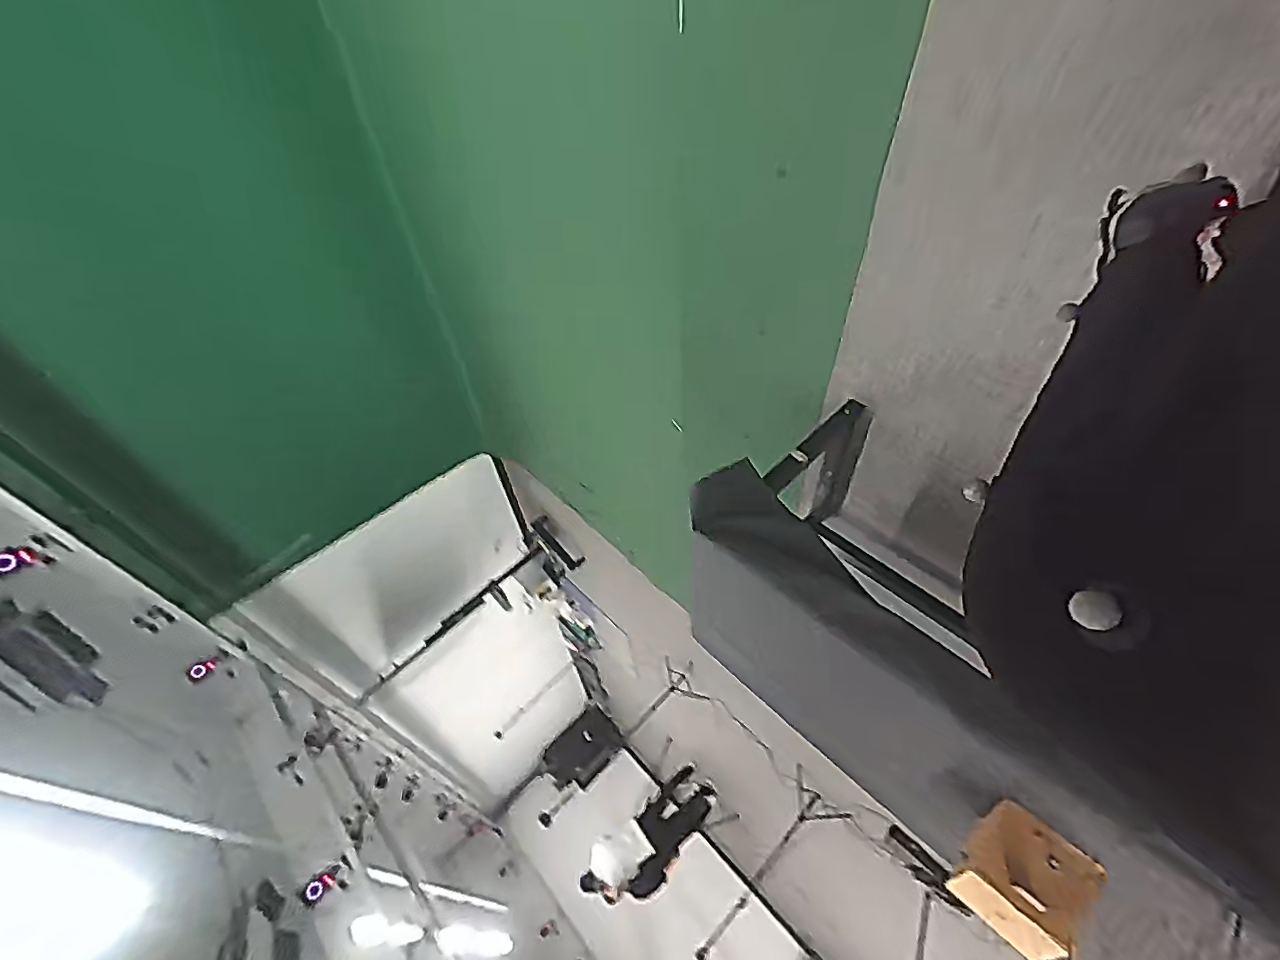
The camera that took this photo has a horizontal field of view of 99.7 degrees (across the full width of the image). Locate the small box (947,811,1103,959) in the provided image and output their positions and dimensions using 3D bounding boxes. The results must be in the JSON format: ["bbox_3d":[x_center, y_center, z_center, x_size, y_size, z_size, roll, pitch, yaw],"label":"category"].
[{"bbox_3d":[0.723,0.773,1.022,0.168,0.176,0.179,34,148,36],"label":"small box"}]
